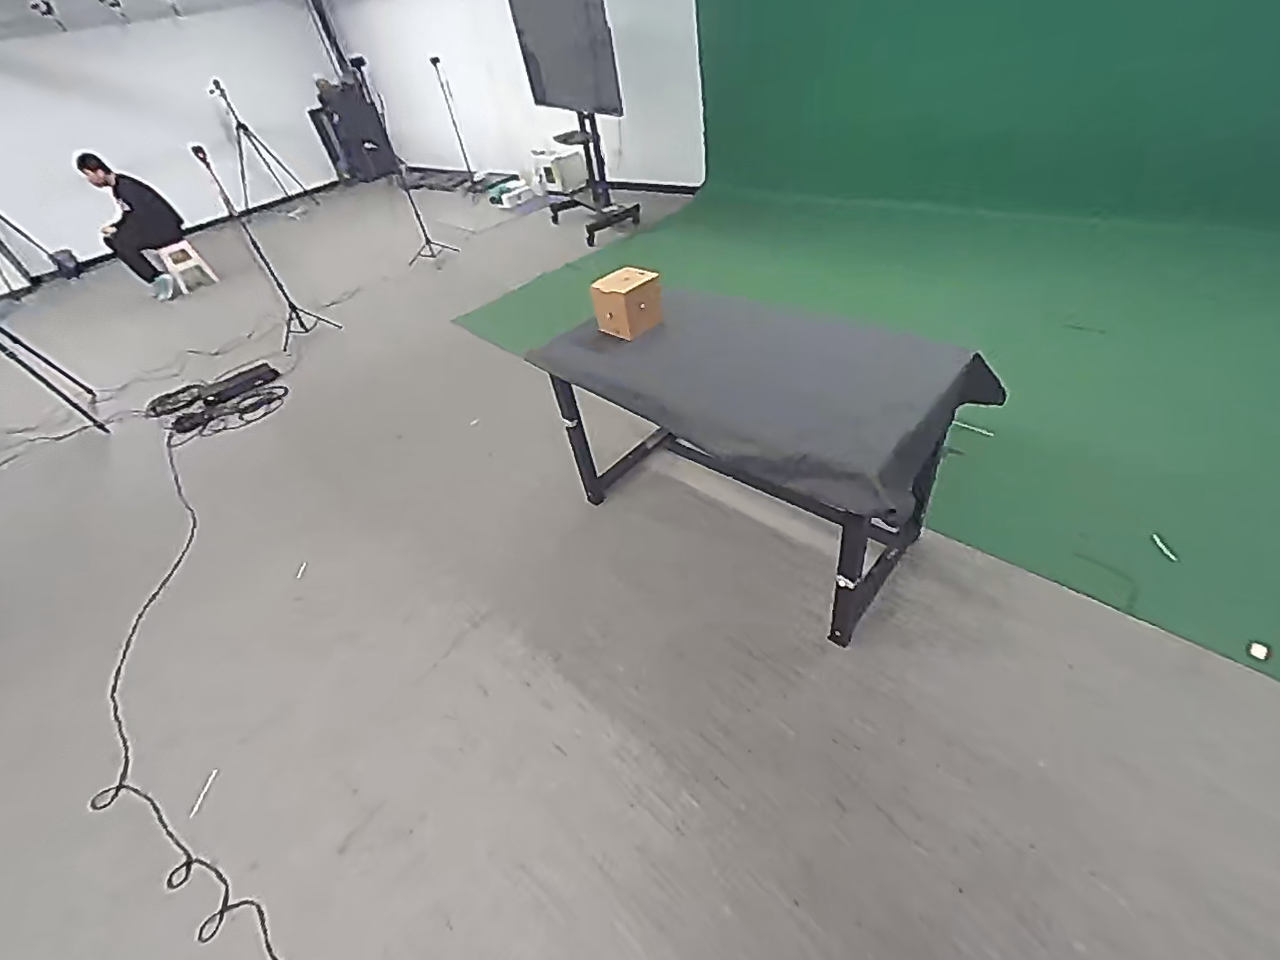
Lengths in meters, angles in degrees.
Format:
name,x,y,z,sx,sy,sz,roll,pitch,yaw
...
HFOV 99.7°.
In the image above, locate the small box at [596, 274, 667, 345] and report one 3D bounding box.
name,x,y,z,sx,sy,sz,roll,pitch,yaw
small box,-0.022,-0.590,1.872,0.179,0.176,0.168,-38,48,-27
